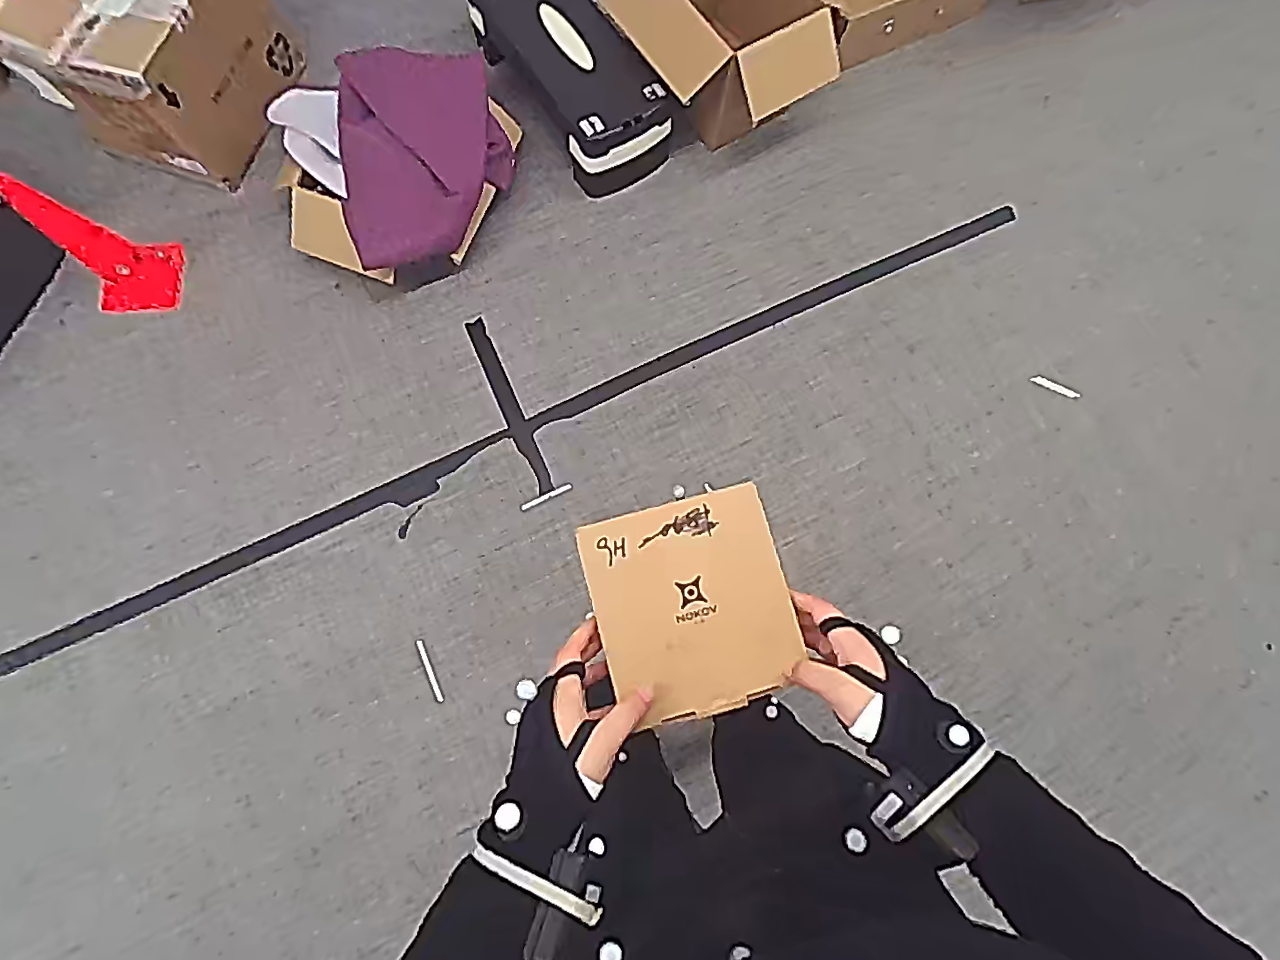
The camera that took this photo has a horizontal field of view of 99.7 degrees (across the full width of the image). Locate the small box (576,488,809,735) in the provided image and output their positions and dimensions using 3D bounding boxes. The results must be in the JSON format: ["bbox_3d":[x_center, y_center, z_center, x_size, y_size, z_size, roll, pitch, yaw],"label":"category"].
[{"bbox_3d":[0.041,0.117,0.537,0.168,0.176,0.179,-15,83,-5],"label":"small box"}]
